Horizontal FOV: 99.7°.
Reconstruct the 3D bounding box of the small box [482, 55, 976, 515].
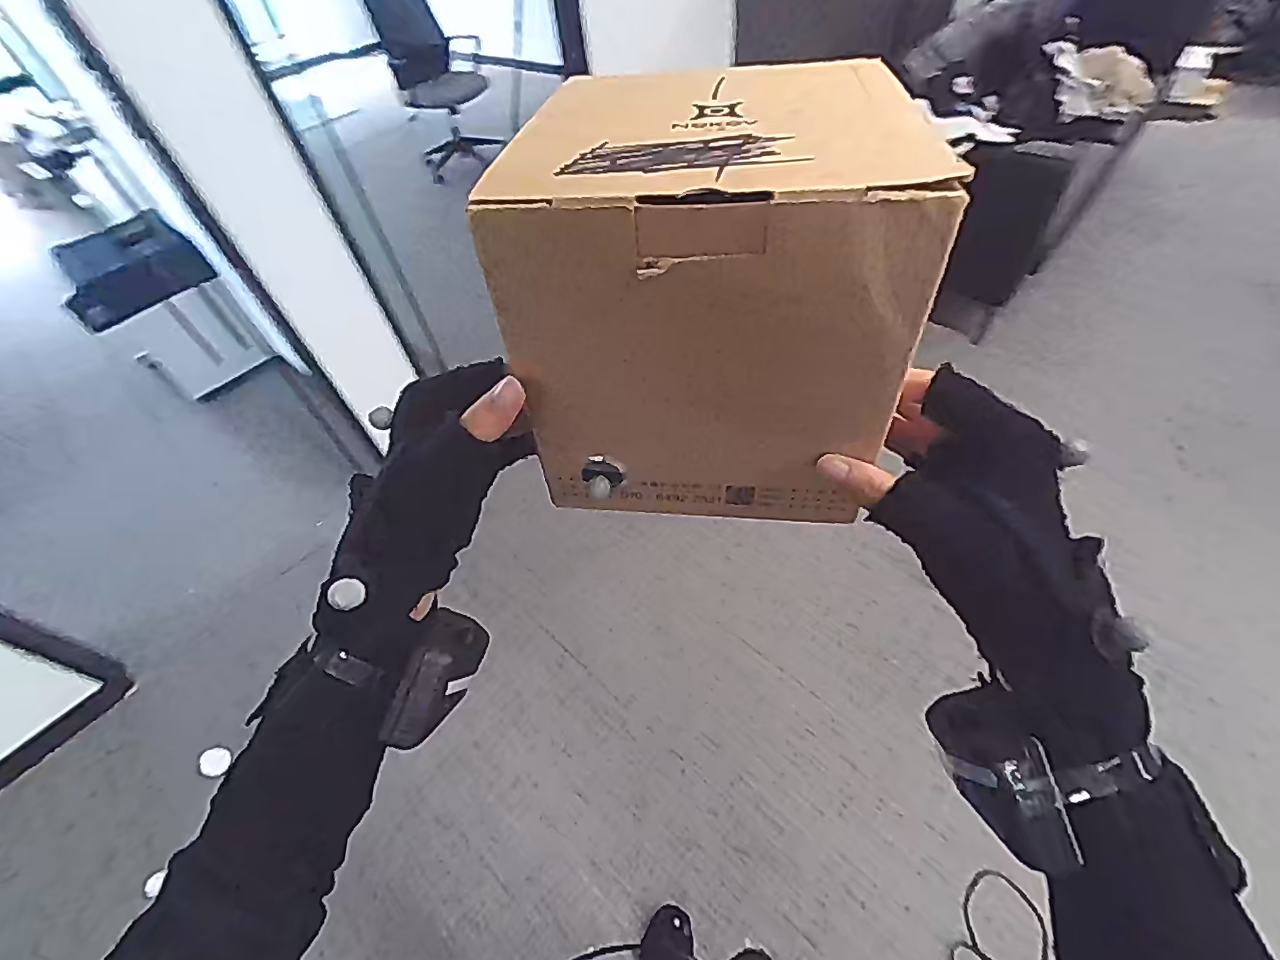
[{"bbox_3d":[0.042,-0.098,0.289,0.168,0.176,0.179,3,48,8],"label":"small box"}]
